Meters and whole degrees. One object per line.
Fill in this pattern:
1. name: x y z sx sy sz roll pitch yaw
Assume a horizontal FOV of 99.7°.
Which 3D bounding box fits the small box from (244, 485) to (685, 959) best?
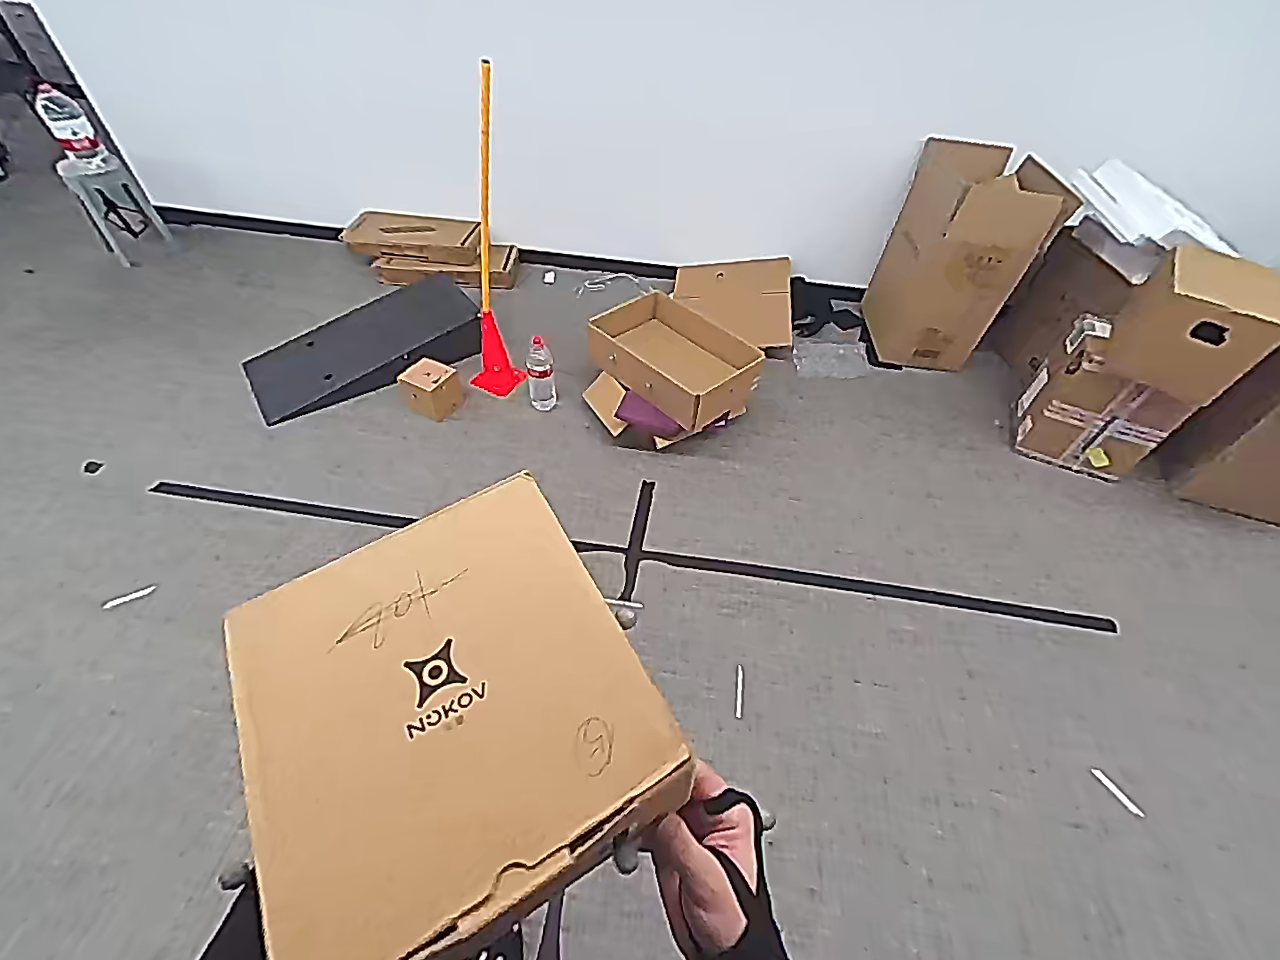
1. small box: -0.087 0.142 0.322 0.168 0.176 0.179 -27 57 -16
